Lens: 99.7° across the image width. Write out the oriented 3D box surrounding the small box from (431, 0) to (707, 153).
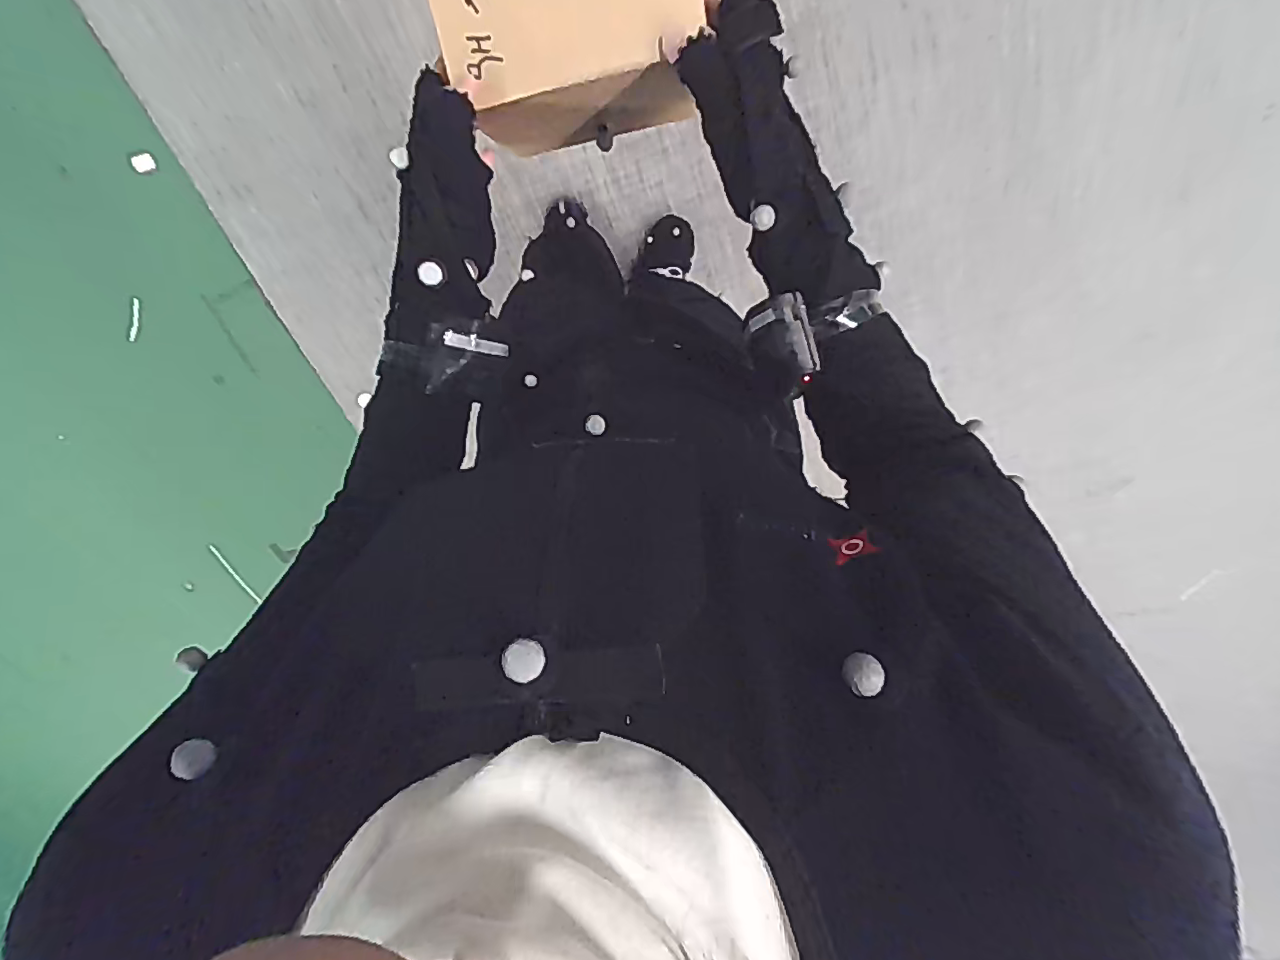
[{"bbox_3d":[-0.053,-0.372,0.410,0.179,0.176,0.168,-10,109,5],"label":"small box"}]
